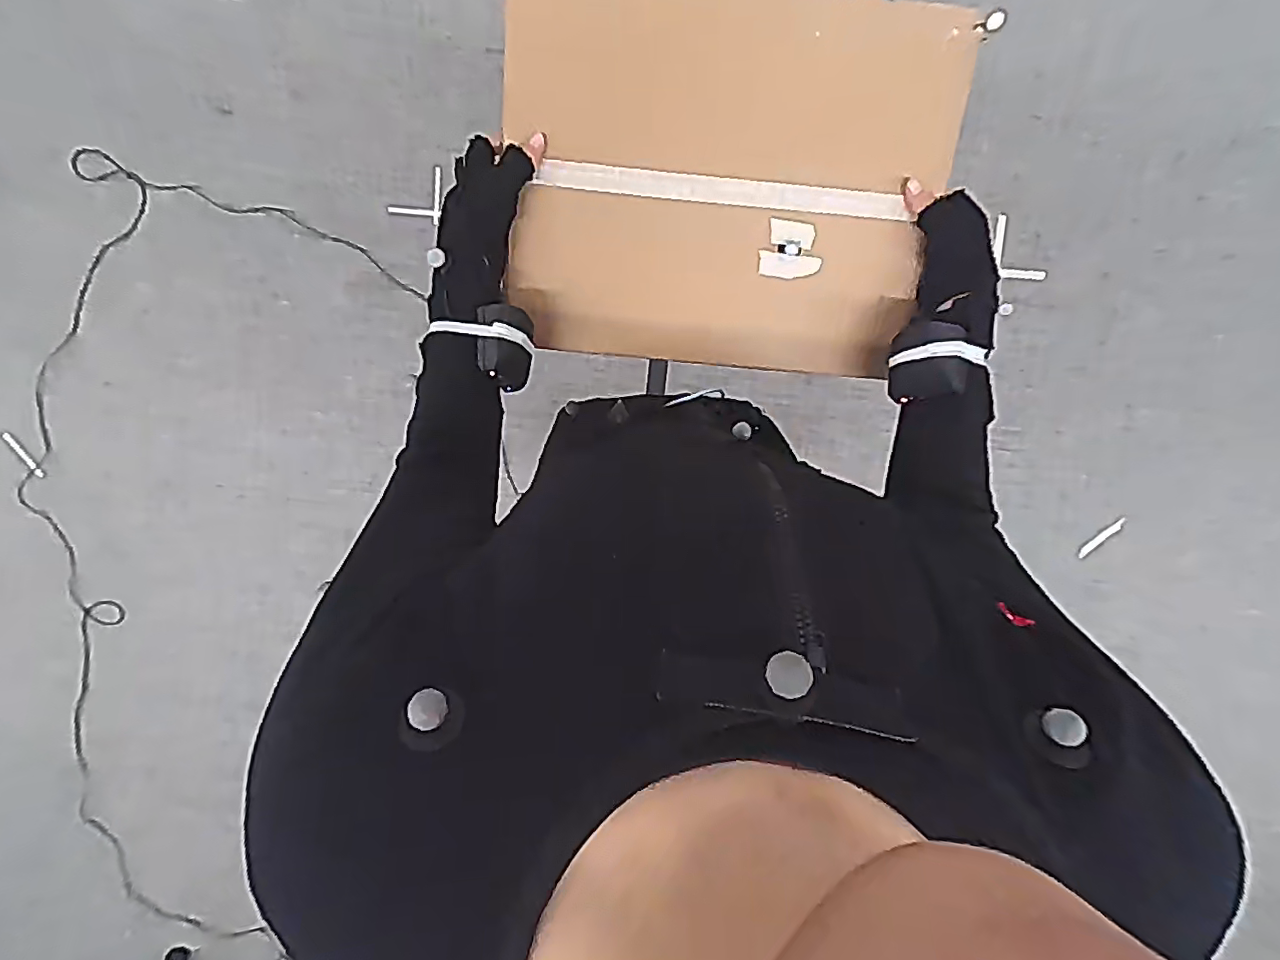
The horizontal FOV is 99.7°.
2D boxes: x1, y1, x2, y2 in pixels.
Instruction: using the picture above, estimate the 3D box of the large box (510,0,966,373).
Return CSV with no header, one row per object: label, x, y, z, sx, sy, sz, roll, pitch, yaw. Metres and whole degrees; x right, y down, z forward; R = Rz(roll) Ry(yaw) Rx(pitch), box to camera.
large box,0.072,-0.316,0.649,0.408,0.320,0.320,4,110,-4
